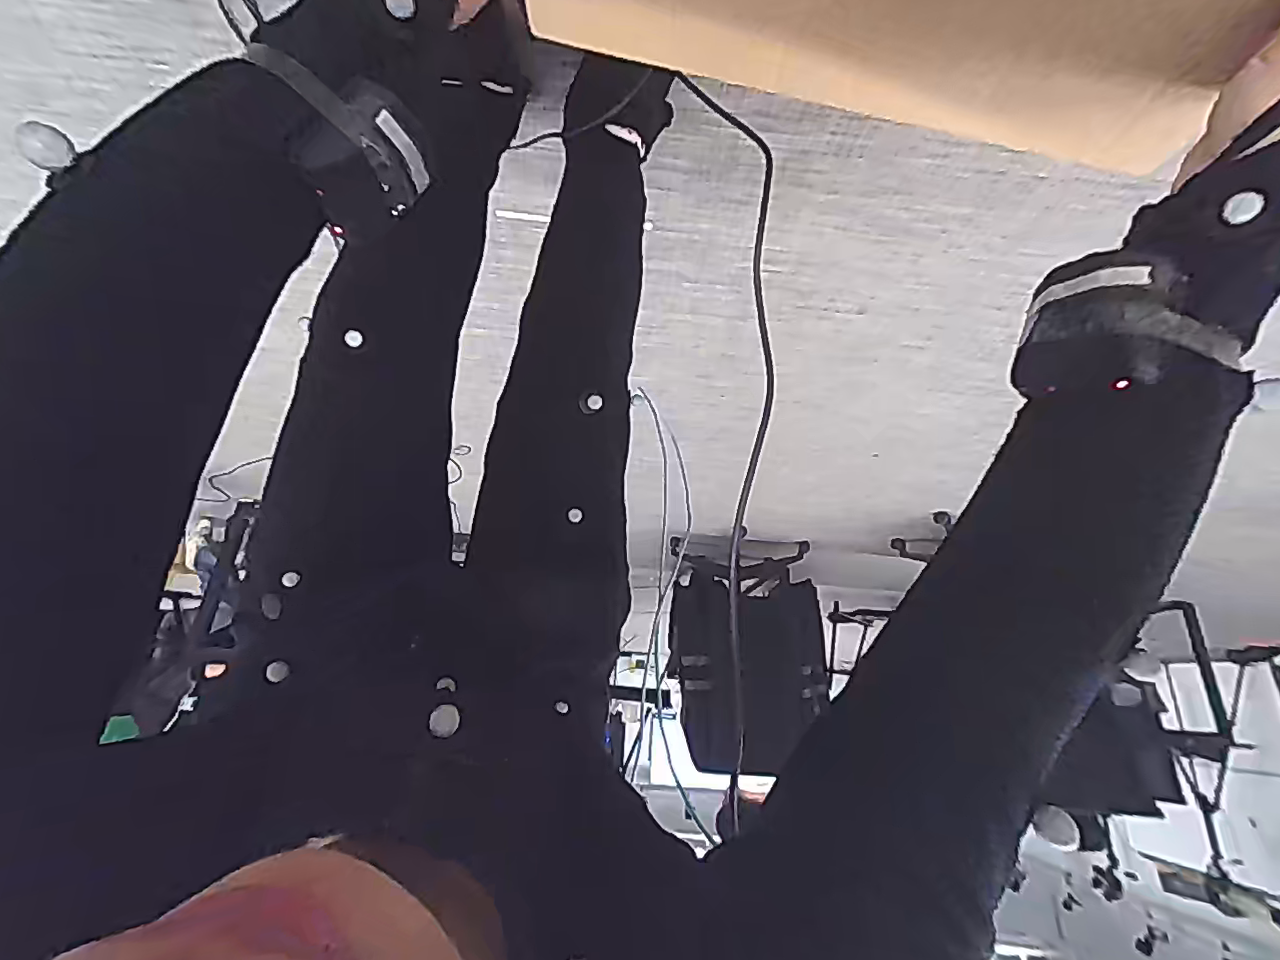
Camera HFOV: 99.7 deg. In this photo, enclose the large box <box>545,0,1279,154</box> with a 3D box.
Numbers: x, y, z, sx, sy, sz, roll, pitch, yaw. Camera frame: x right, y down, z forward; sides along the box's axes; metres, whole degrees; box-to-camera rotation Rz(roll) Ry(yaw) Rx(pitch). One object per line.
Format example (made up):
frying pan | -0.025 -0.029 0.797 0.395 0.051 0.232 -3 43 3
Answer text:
large box | 0.169 -0.439 0.267 0.408 0.320 0.320 14 159 3
